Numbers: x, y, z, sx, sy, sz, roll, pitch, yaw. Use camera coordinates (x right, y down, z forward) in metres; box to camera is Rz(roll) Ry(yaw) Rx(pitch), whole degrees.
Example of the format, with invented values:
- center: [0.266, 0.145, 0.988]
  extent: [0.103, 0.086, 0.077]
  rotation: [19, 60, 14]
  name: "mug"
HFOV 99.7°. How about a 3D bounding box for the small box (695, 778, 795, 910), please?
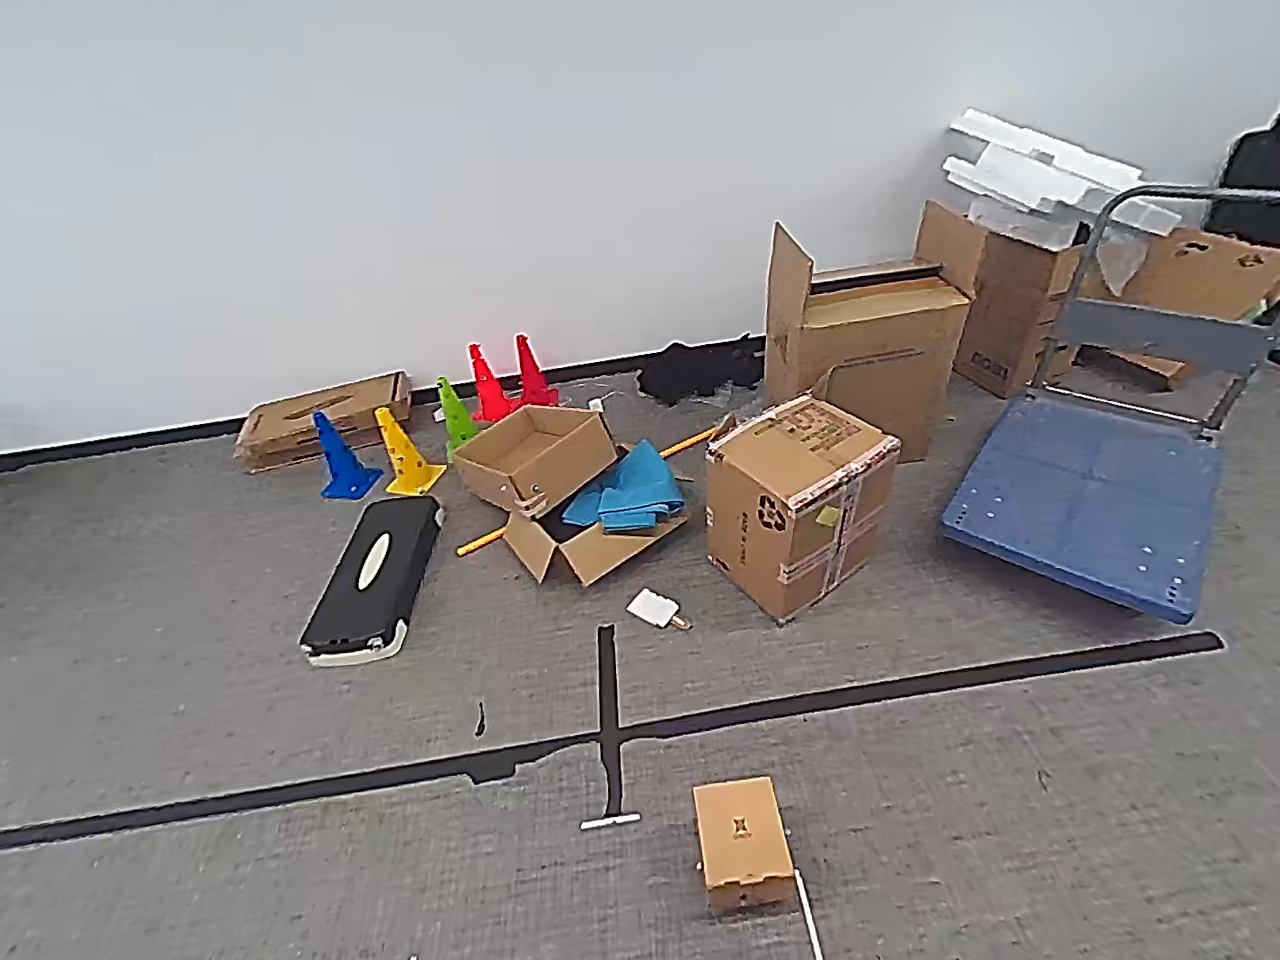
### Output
- center: [0.206, 0.744, 1.107]
  extent: [0.168, 0.176, 0.179]
  rotation: [-8, 40, 0]
  name: "small box"
